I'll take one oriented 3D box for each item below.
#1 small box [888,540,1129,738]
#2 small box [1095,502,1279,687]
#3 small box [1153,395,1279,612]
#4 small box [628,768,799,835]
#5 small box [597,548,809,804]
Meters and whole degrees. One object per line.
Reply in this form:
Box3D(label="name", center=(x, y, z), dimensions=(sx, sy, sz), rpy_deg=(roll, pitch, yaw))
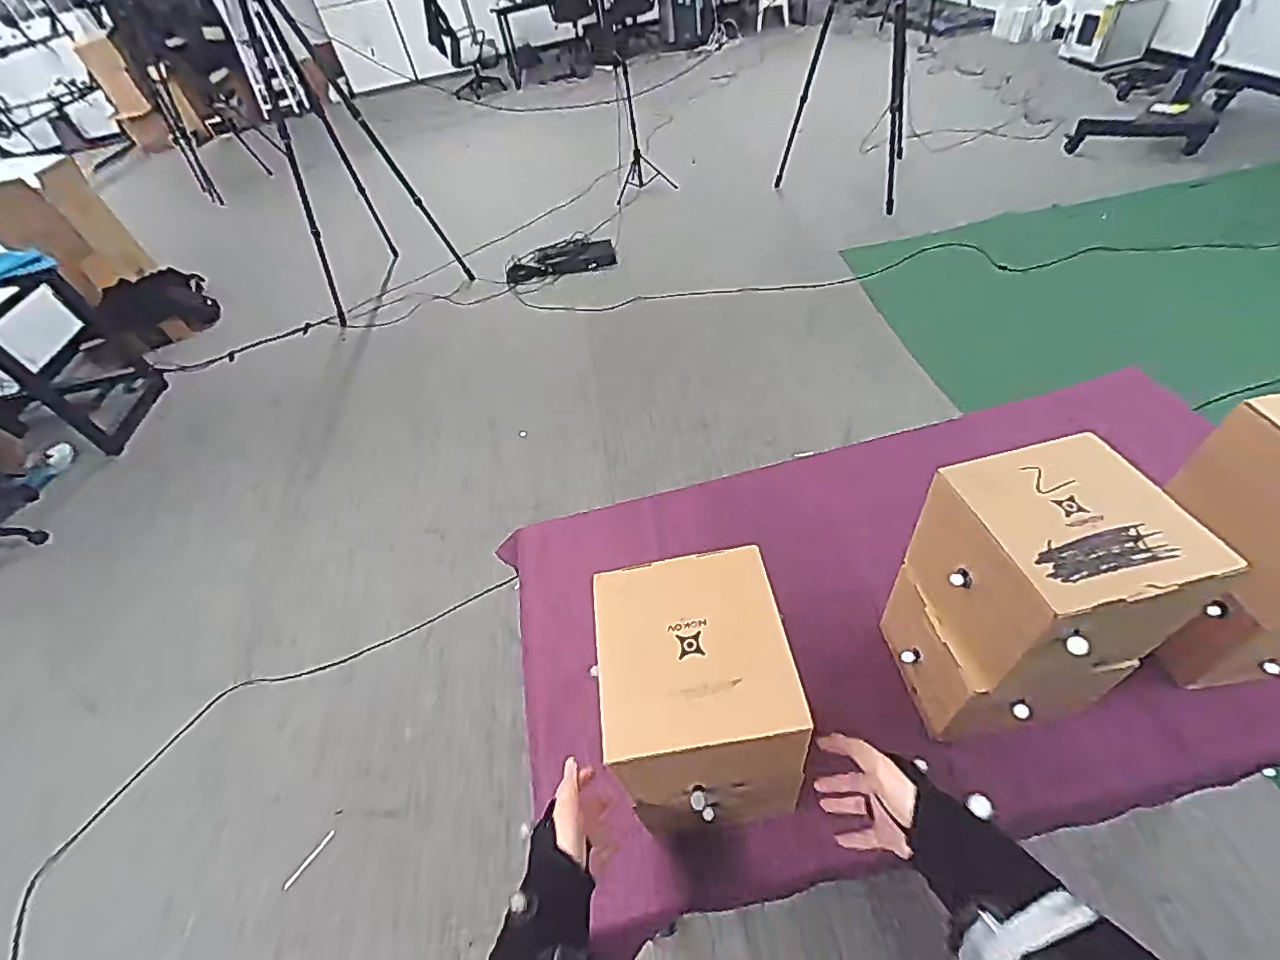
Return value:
Box3D(label="small box", center=(0.428, 0.202, 0.673), dimensions=(0.179, 0.176, 0.168), rpy_deg=(-11, 47, 2))
Box3D(label="small box", center=(0.732, 0.133, 0.674), dimensions=(0.168, 0.176, 0.179), rpy_deg=(-10, 47, 3))
Box3D(label="small box", center=(0.708, 0.023, 0.554), dimensions=(0.168, 0.176, 0.179), rpy_deg=(-11, 47, 1))
Box3D(label="small box", center=(0.079, 0.308, 0.651), dimensions=(0.179, 0.176, 0.168), rpy_deg=(-11, 48, 1))
Box3D(label="small box", center=(0.055, 0.195, 0.535), dimensions=(0.168, 0.176, 0.179), rpy_deg=(-11, 48, 3))
